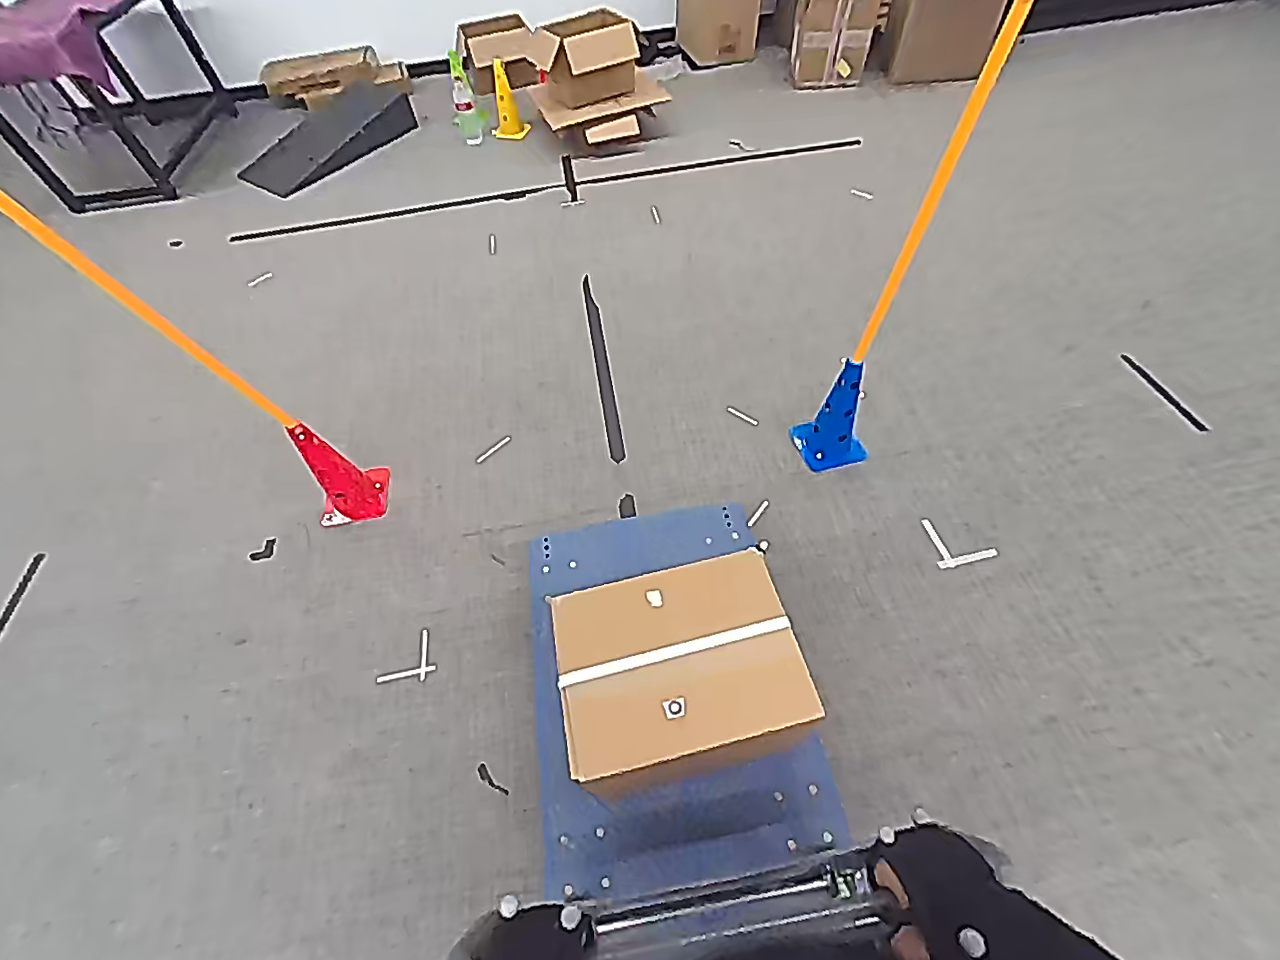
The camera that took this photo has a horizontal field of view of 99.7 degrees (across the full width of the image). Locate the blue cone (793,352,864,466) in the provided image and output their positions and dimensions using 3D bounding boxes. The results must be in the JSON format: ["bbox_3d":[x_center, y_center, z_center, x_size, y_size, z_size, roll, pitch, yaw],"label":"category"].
[{"bbox_3d":[0.606,-0.225,1.636,0.193,0.380,0.192,-13,54,-5],"label":"blue cone"}]
